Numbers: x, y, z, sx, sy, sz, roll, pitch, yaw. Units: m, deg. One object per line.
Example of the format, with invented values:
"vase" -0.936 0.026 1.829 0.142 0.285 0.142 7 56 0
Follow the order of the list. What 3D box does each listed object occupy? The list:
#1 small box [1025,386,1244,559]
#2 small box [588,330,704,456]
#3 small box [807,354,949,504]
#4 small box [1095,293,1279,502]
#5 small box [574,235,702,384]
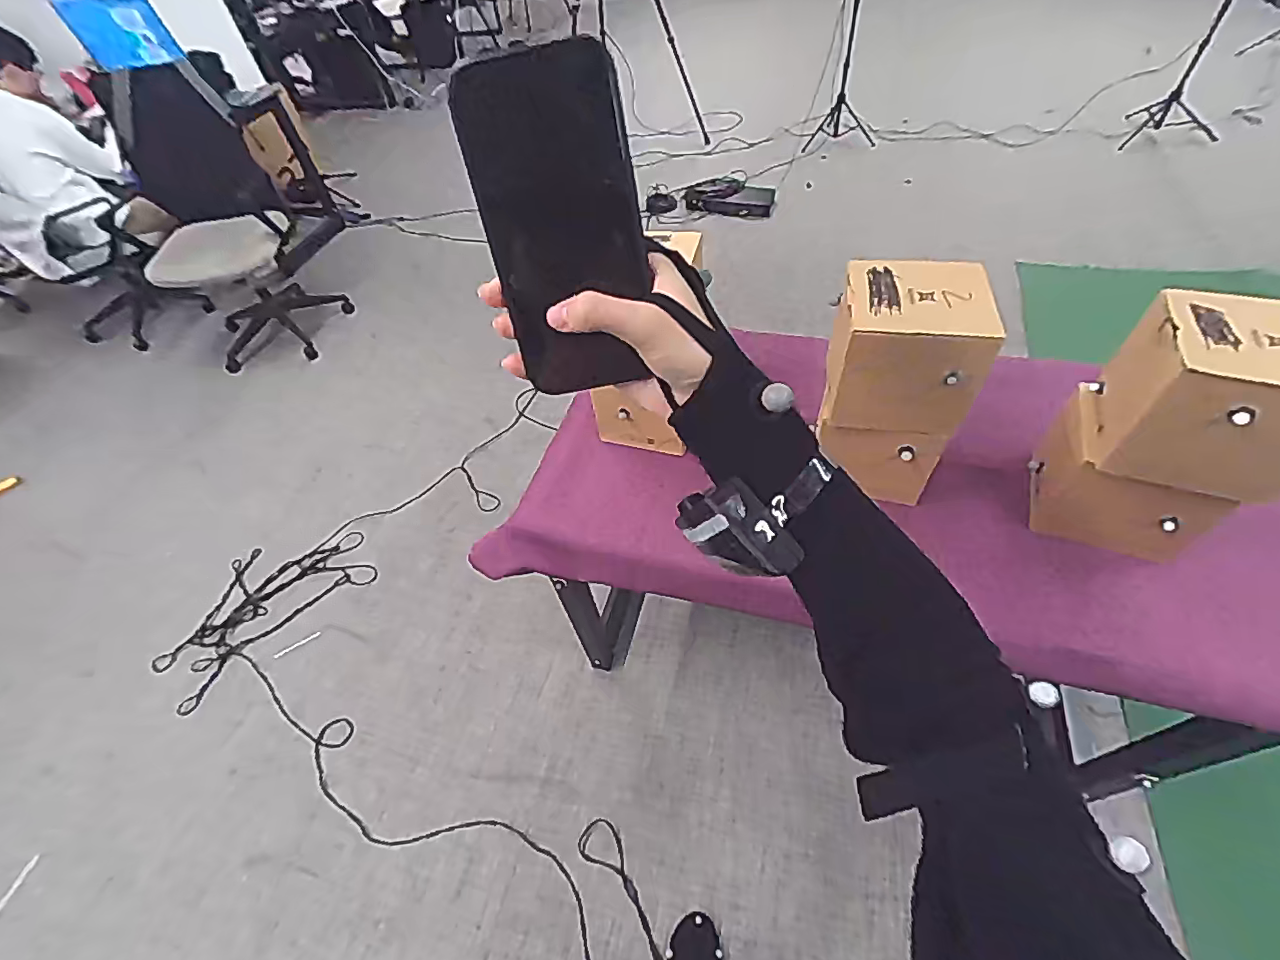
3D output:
"small box" 0.701 -0.007 0.789 0.179 0.176 0.168 16 54 20
"small box" 0.022 -0.167 1.007 0.168 0.176 0.179 11 53 16
"small box" 0.384 -0.081 0.888 0.179 0.176 0.168 11 53 16
"small box" 0.689 -0.097 0.652 0.179 0.176 0.168 16 54 19
"small box" 0.008 -0.277 0.886 0.168 0.176 0.179 8 53 12
